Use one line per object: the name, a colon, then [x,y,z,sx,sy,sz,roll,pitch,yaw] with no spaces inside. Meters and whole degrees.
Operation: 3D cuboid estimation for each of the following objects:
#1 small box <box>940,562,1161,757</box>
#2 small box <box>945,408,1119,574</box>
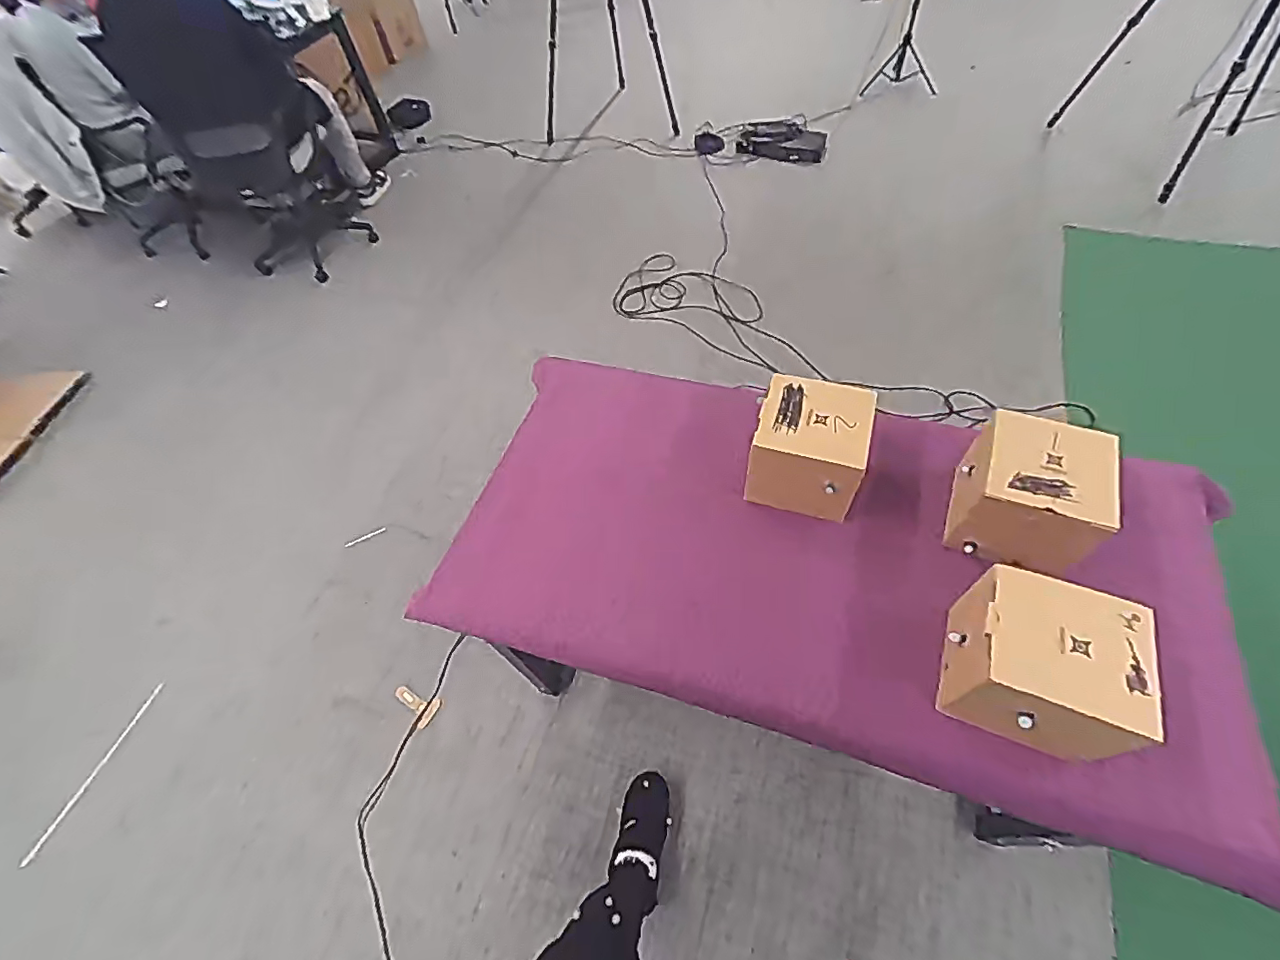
small box: [0.518,0.239,0.707,0.179,0.176,0.168,17,59,18]
small box: [0.602,0.021,0.846,0.168,0.176,0.179,19,60,18]
